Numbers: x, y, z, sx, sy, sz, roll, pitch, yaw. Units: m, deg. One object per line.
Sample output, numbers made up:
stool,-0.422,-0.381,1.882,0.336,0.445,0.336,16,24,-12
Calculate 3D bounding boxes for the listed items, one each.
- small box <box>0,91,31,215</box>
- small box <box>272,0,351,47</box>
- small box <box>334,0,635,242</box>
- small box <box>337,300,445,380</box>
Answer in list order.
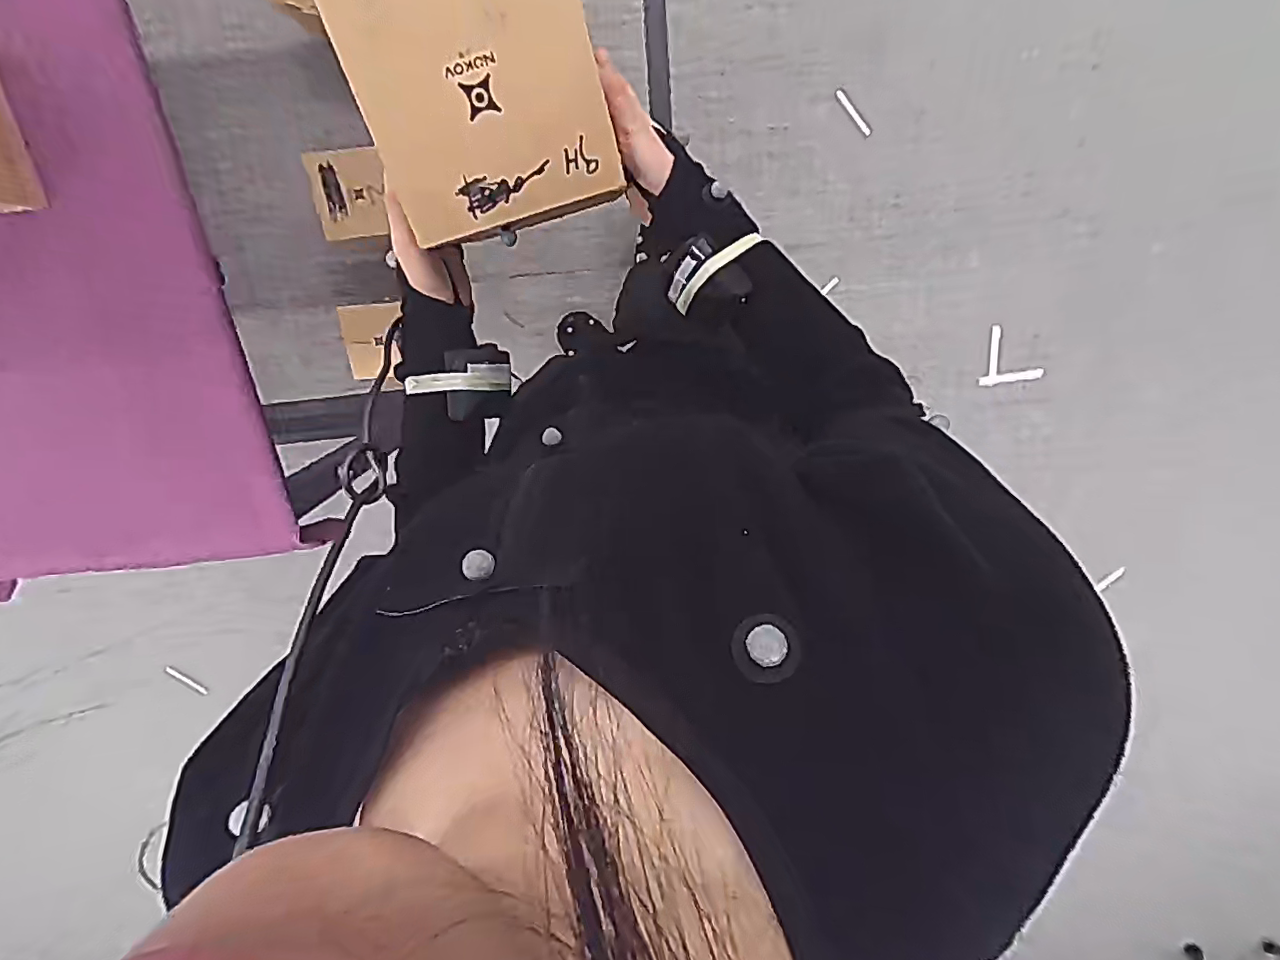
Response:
small box,-0.767,-0.354,0.520,0.179,0.176,0.168,-4,109,2
small box,-0.604,-0.993,1.072,0.168,0.176,0.179,10,110,-6
small box,-0.107,-0.305,0.440,0.168,0.176,0.179,-15,115,4
small box,-0.586,-0.342,1.305,0.179,0.176,0.168,-4,110,1
